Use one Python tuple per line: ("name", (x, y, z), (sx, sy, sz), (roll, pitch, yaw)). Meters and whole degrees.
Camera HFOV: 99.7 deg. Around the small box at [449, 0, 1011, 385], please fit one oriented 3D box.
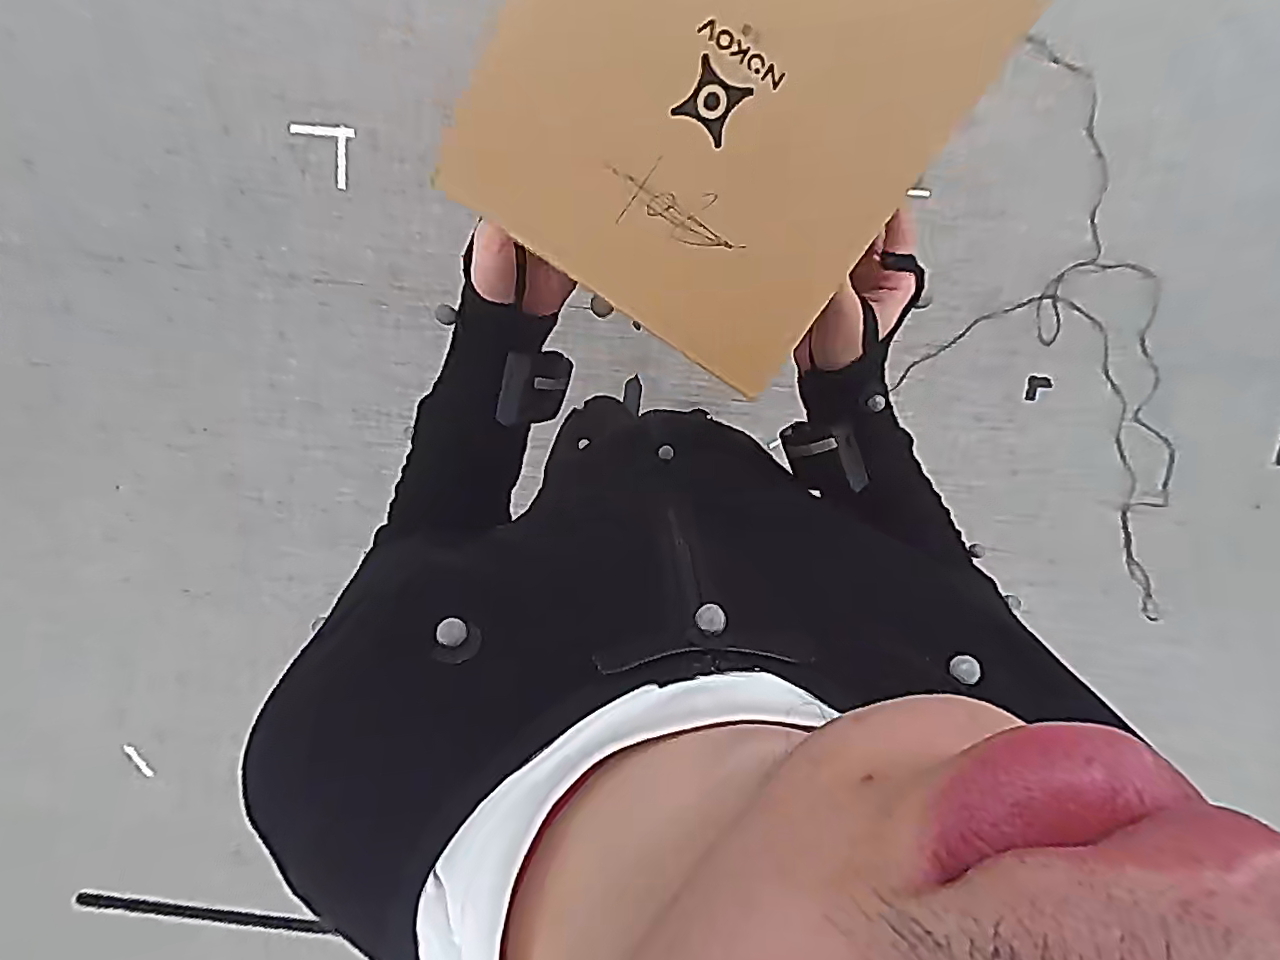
("small box", (0.034, -0.177, 0.294), (0.168, 0.176, 0.179), (31, 107, -4))
